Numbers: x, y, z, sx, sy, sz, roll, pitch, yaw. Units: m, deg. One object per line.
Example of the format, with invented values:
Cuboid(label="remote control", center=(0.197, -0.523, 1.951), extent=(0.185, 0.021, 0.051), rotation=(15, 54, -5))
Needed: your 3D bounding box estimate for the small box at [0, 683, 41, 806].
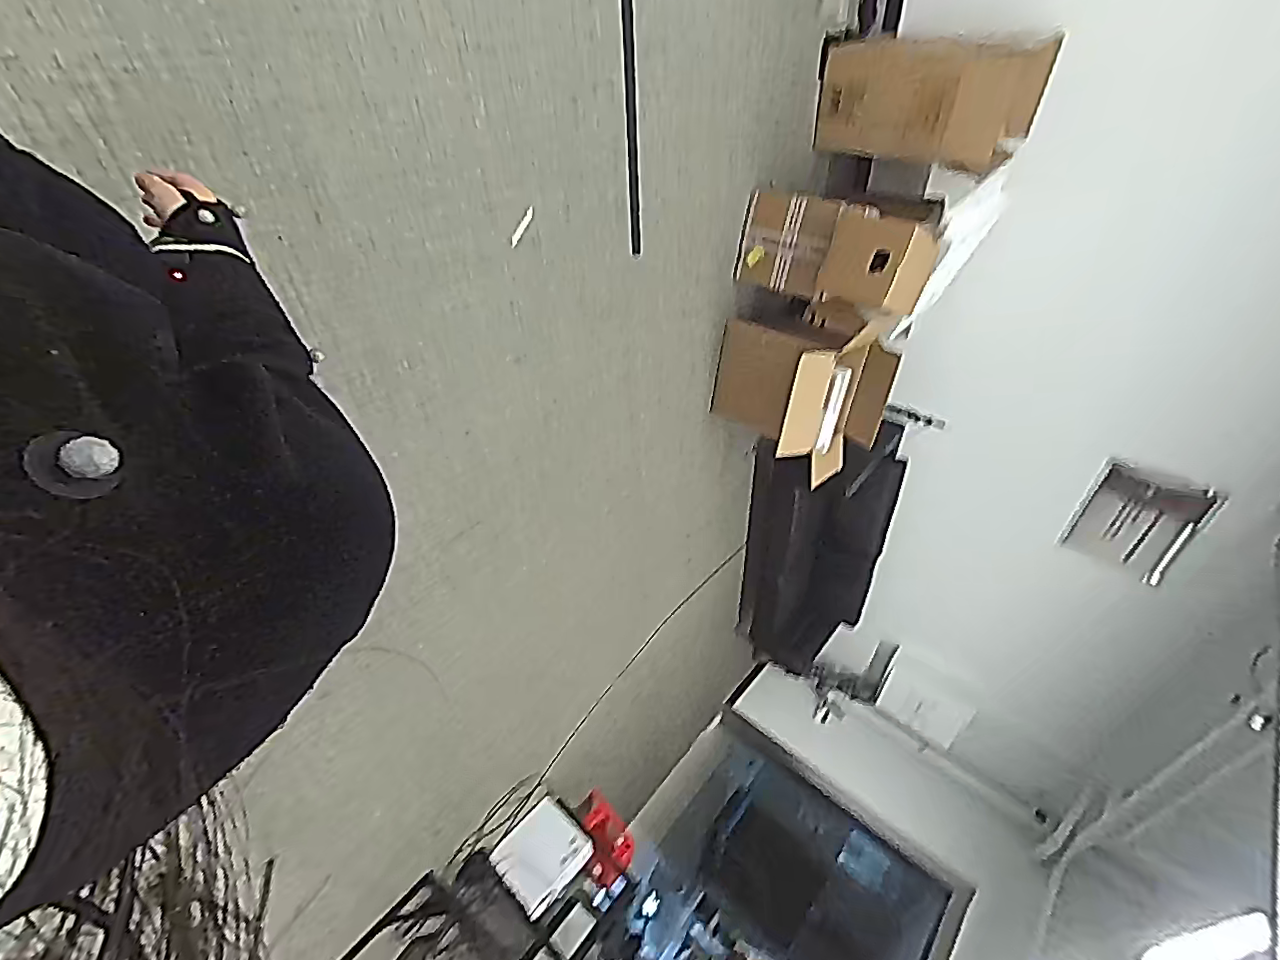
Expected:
Cuboid(label="small box", center=(-0.843, 0.303, 0.602), extent=(0.168, 0.176, 0.179), rotation=(-34, 139, -36))
